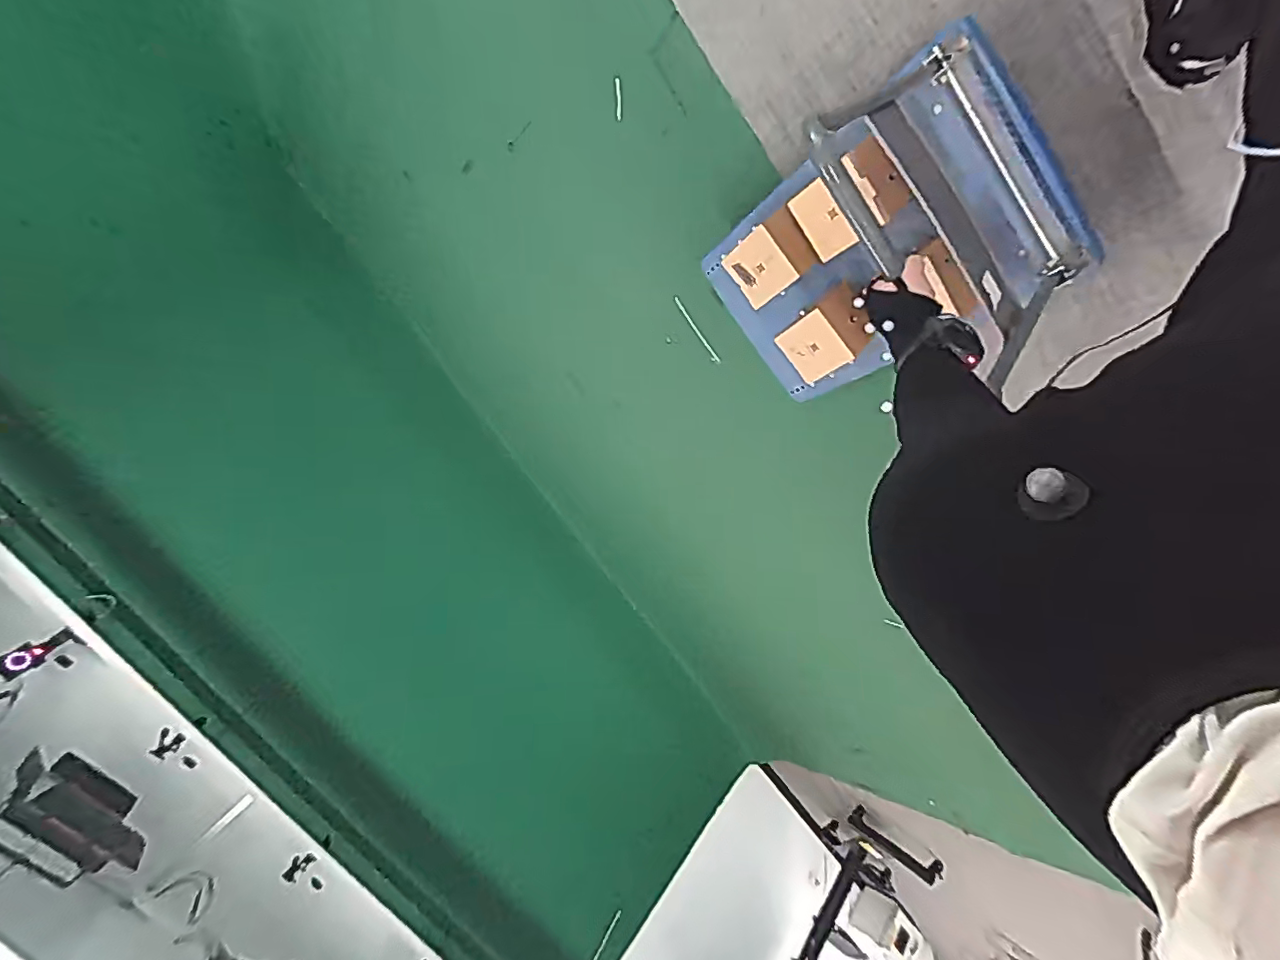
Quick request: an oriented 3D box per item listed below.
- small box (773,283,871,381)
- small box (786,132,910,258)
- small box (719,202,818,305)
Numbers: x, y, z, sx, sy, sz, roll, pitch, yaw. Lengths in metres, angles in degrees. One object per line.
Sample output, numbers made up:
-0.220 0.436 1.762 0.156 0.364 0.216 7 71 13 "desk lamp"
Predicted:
0.511 -0.412 1.496 0.168 0.176 0.179 51 150 -6 "small box"
0.480 -0.654 1.244 0.168 0.176 0.179 53 149 -11 "small box"
0.355 -0.610 1.454 0.168 0.176 0.179 51 149 -9 "small box"
